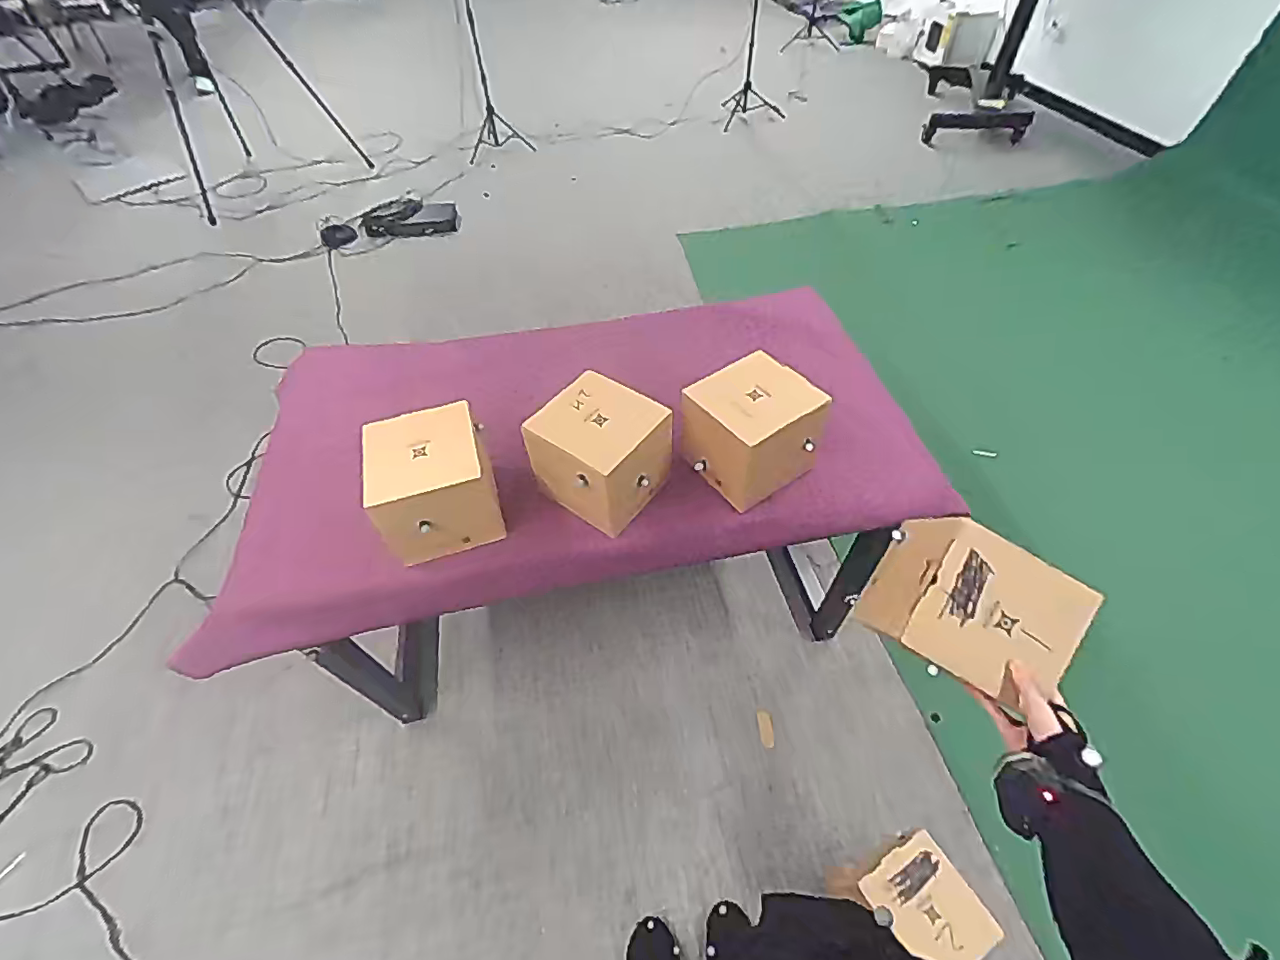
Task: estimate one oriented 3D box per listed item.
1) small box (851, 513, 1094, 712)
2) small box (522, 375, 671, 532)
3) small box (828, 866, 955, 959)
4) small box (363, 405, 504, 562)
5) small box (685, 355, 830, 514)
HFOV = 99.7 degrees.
[{"bbox_3d":[0.406,0.159,0.697,0.179,0.176,0.168,32,87,4],"label":"small box"},{"bbox_3d":[-0.064,-0.038,0.900,0.179,0.176,0.168,30,57,24],"label":"small box"},{"bbox_3d":[0.489,0.881,1.083,0.179,0.176,0.168,-2,52,0],"label":"small box"},{"bbox_3d":[-0.327,0.013,0.871,0.168,0.176,0.179,-16,51,-11],"label":"small box"},{"bbox_3d":[0.188,-0.077,0.925,0.179,0.176,0.168,-30,54,-20],"label":"small box"}]
